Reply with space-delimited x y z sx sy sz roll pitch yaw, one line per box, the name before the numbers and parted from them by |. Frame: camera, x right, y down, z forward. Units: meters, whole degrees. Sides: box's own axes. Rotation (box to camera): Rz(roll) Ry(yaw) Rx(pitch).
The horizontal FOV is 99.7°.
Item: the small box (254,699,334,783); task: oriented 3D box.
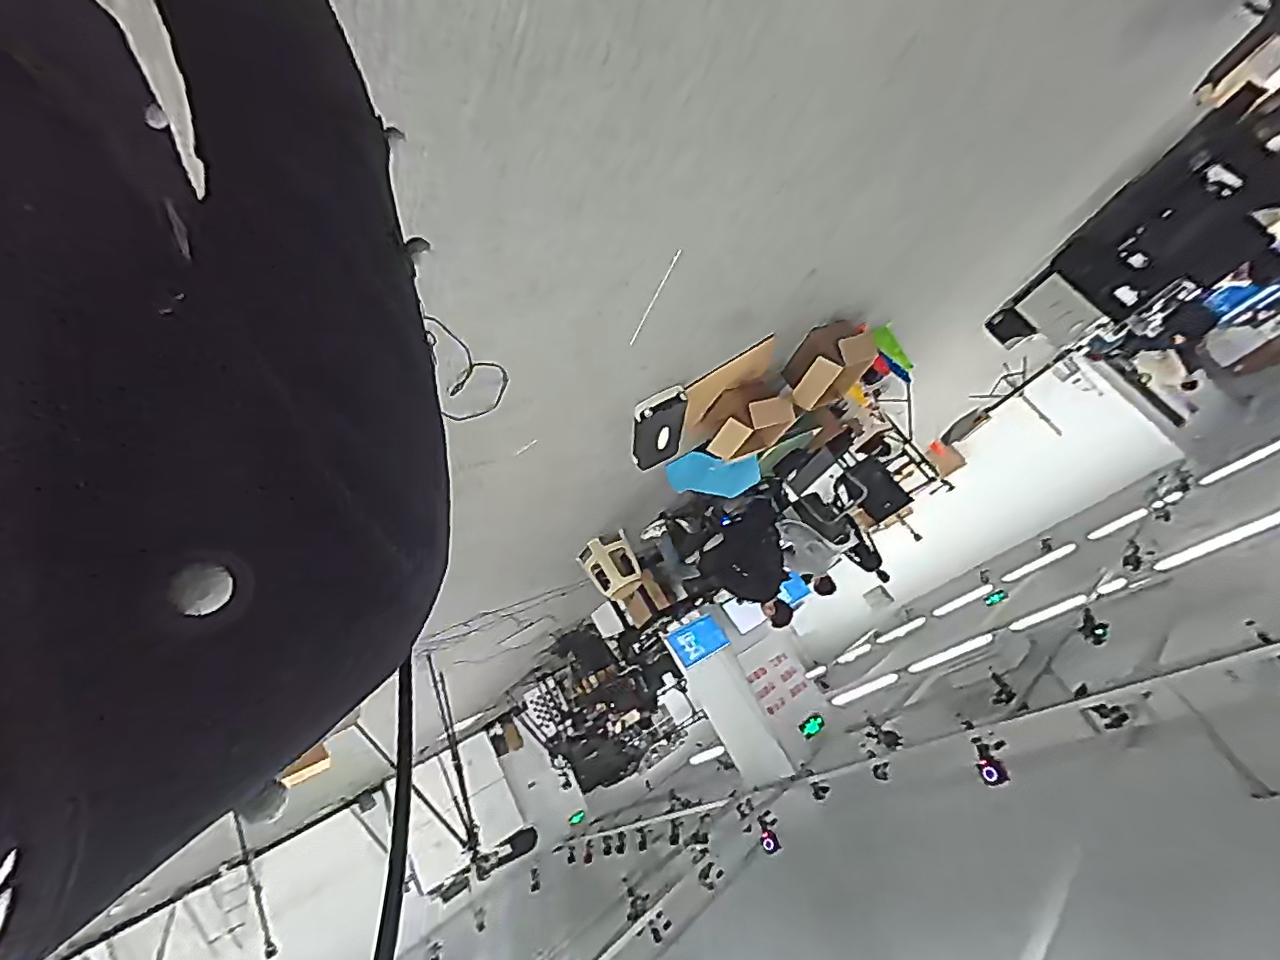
small box | -1.098 0.826 1.720 0.179 0.176 0.168 -16 156 -36
